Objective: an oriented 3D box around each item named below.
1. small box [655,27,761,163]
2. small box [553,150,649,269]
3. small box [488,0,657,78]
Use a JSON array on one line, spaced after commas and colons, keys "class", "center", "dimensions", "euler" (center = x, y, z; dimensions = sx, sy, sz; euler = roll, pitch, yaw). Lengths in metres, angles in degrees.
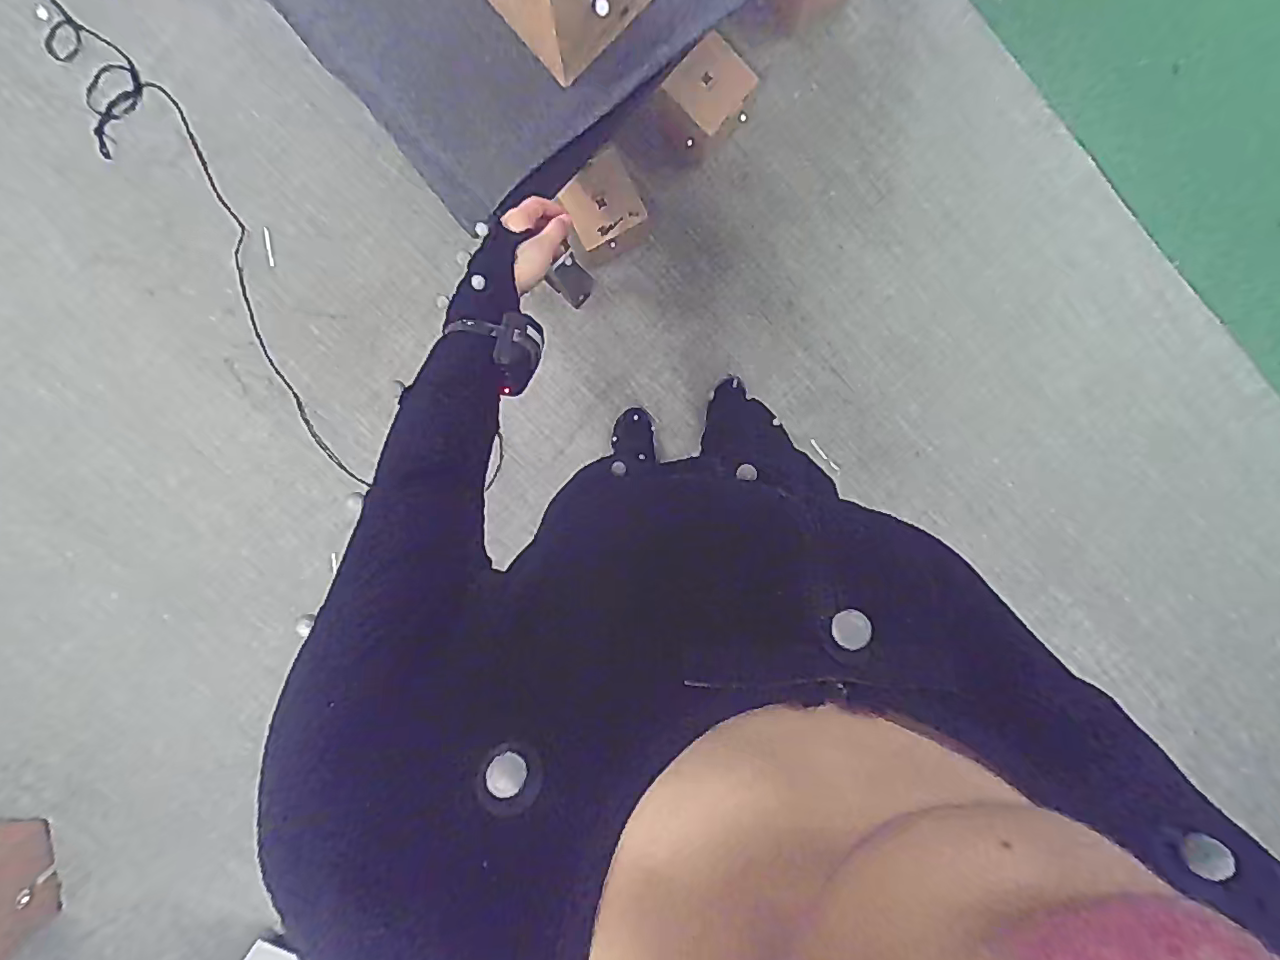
[{"class": "small box", "center": [0.152, -0.885, 1.272], "dimensions": [0.179, 0.176, 0.168], "euler": [43, 95, -5]}, {"class": "small box", "center": [-0.090, -0.641, 1.304], "dimensions": [0.168, 0.176, 0.179], "euler": [-27, 97, 3]}, {"class": "small box", "center": [-0.085, -0.582, 0.576], "dimensions": [0.168, 0.176, 0.179], "euler": [-43, 96, 5]}]
